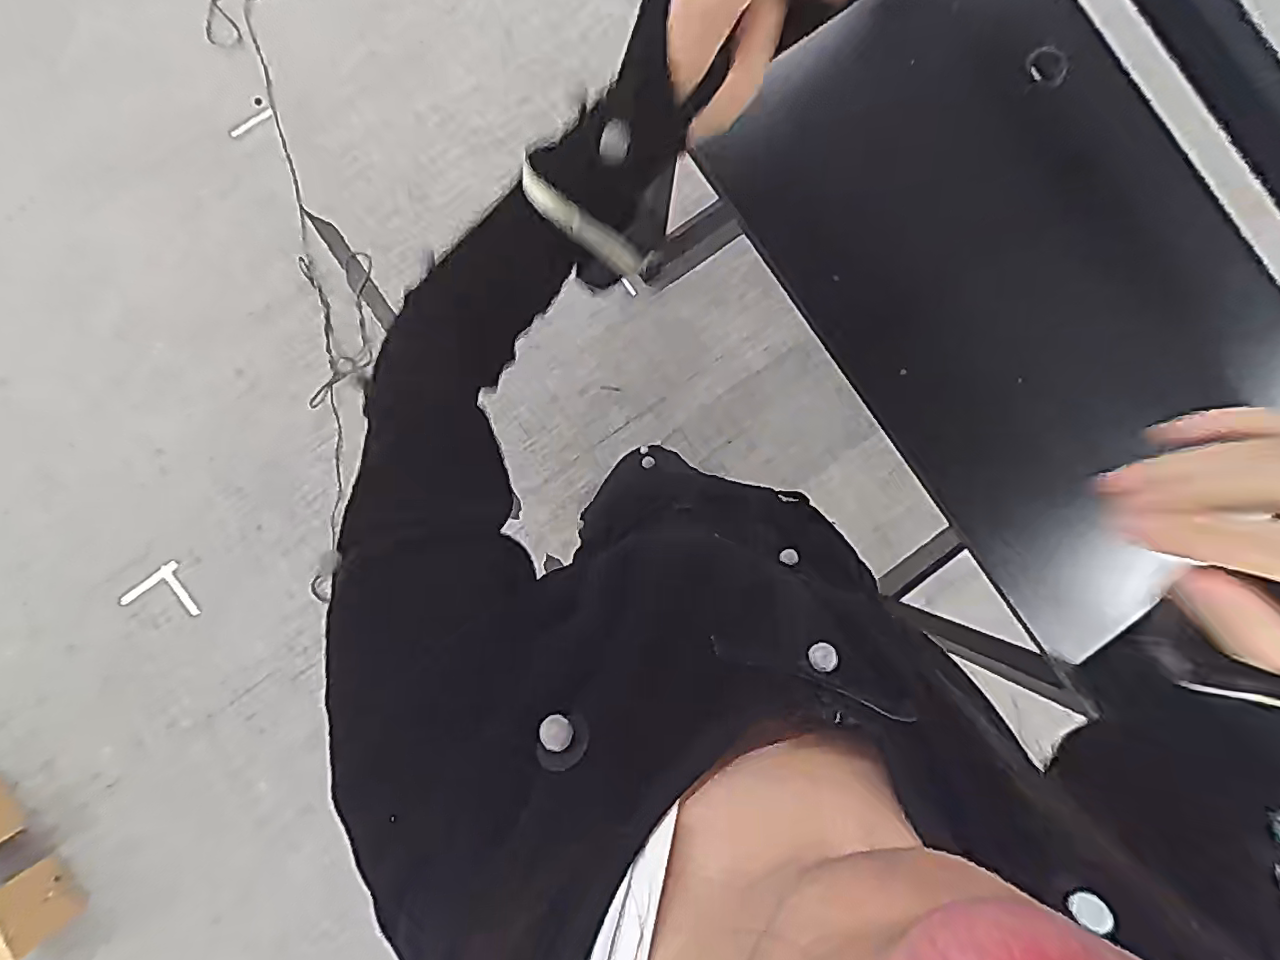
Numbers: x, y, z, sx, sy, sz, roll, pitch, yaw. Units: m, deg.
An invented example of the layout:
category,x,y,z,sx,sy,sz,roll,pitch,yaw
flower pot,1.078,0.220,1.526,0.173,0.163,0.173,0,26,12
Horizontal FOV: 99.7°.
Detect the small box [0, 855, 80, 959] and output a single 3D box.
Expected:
category,x,y,z,sx,sy,sz,roll,pitch,yaw
small box,-1.564,1.084,1.327,0.179,0.176,0.168,-32,91,-3
